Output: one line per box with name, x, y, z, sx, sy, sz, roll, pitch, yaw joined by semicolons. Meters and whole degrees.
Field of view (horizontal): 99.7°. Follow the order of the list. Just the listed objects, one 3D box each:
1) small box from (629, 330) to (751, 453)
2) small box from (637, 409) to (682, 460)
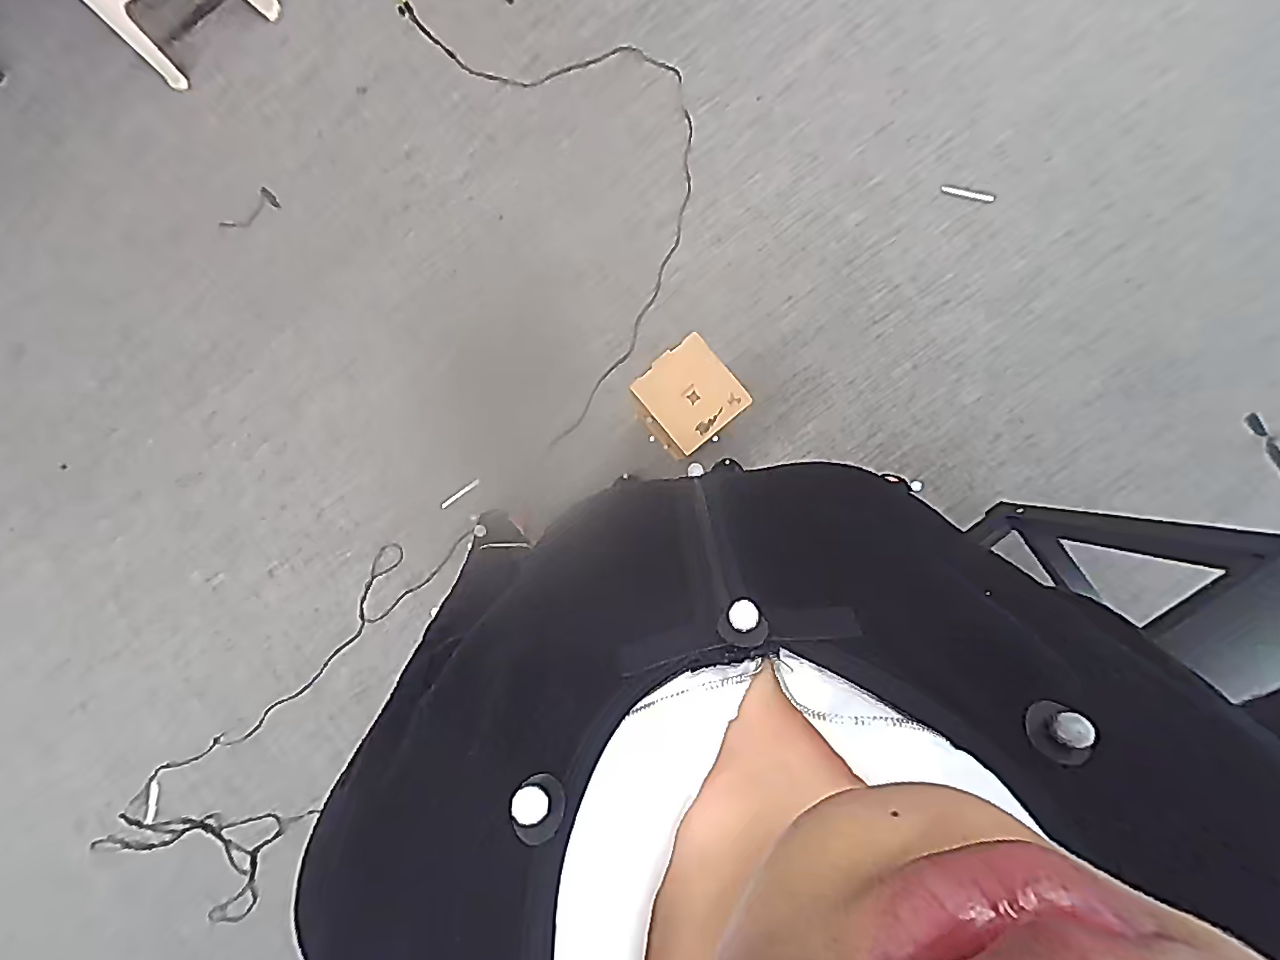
small box;0.096;-0.167;1.095;0.168;0.176;0.179;-40;90;3
small box;0.108;-0.169;1.421;0.179;0.176;0.168;-40;89;4
